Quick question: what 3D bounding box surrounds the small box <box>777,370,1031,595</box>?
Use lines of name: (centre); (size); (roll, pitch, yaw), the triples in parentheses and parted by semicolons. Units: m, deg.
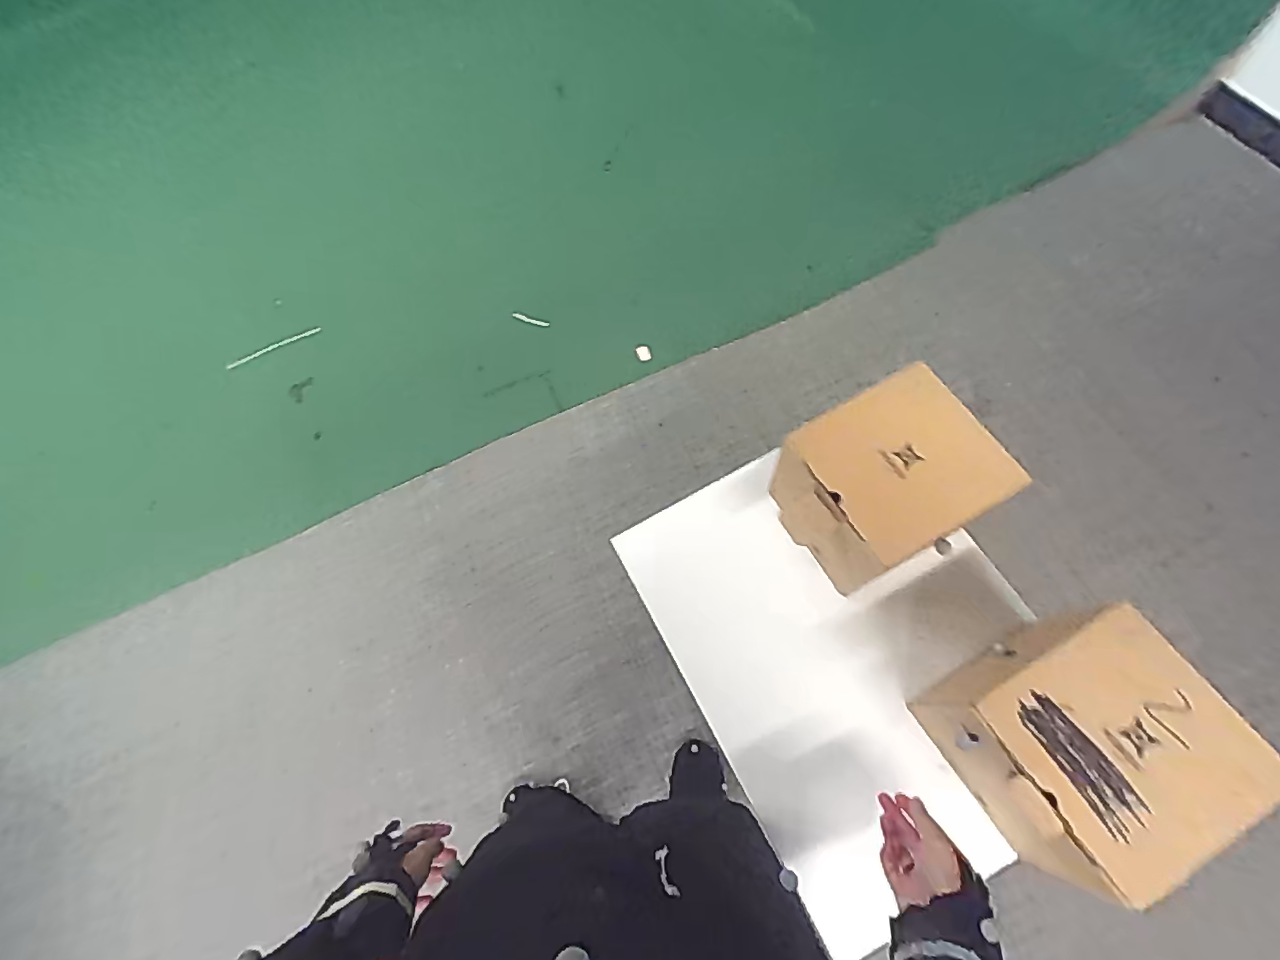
small box: (0.279, 0.012, 0.622); (0.179, 0.176, 0.168); (-29, 69, -4)
